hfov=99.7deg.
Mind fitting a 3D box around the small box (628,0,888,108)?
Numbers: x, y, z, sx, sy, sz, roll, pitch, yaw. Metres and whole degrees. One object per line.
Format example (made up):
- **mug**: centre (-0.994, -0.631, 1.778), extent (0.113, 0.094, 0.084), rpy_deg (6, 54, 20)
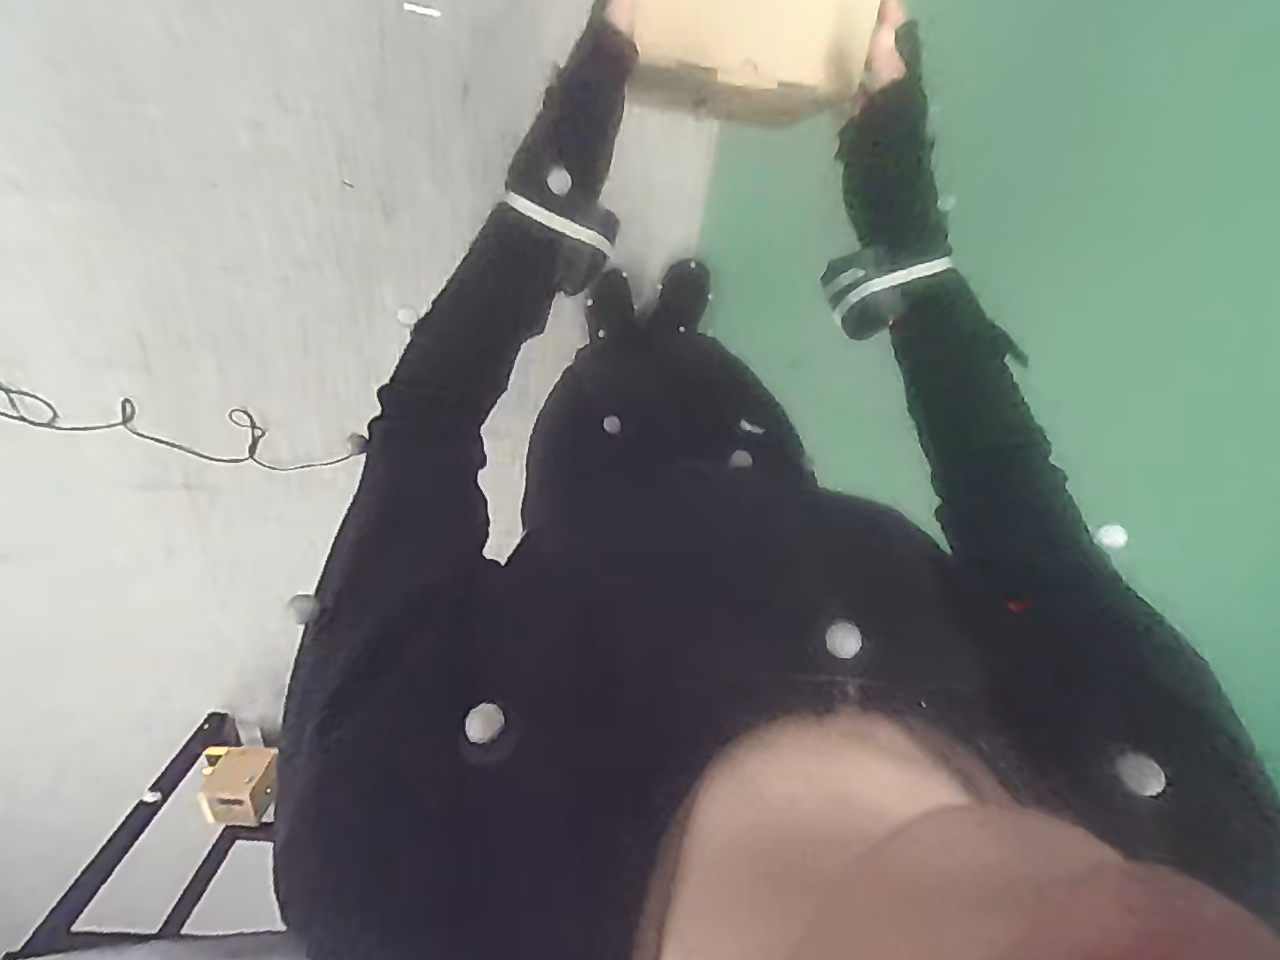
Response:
- **small box**: centre (0.083, -0.402, 0.400), extent (0.168, 0.176, 0.179), rpy_deg (4, 117, -7)
